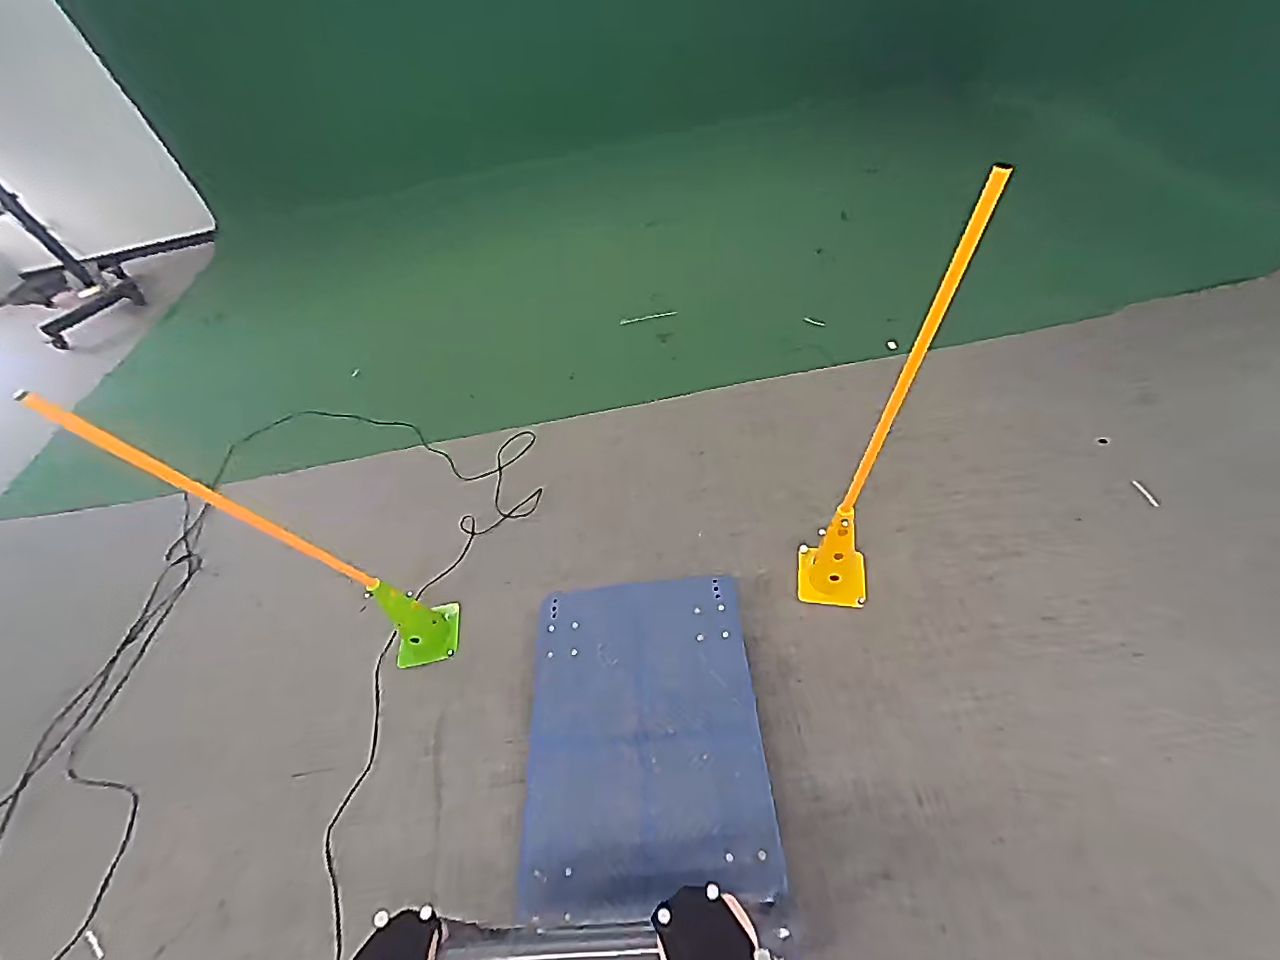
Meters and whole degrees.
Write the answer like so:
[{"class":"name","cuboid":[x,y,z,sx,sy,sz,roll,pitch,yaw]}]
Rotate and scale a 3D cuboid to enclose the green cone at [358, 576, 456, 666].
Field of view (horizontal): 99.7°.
[{"class":"green cone","cuboid":[-0.742,0.397,1.665,0.202,0.368,0.200,-14,49,2]}]
